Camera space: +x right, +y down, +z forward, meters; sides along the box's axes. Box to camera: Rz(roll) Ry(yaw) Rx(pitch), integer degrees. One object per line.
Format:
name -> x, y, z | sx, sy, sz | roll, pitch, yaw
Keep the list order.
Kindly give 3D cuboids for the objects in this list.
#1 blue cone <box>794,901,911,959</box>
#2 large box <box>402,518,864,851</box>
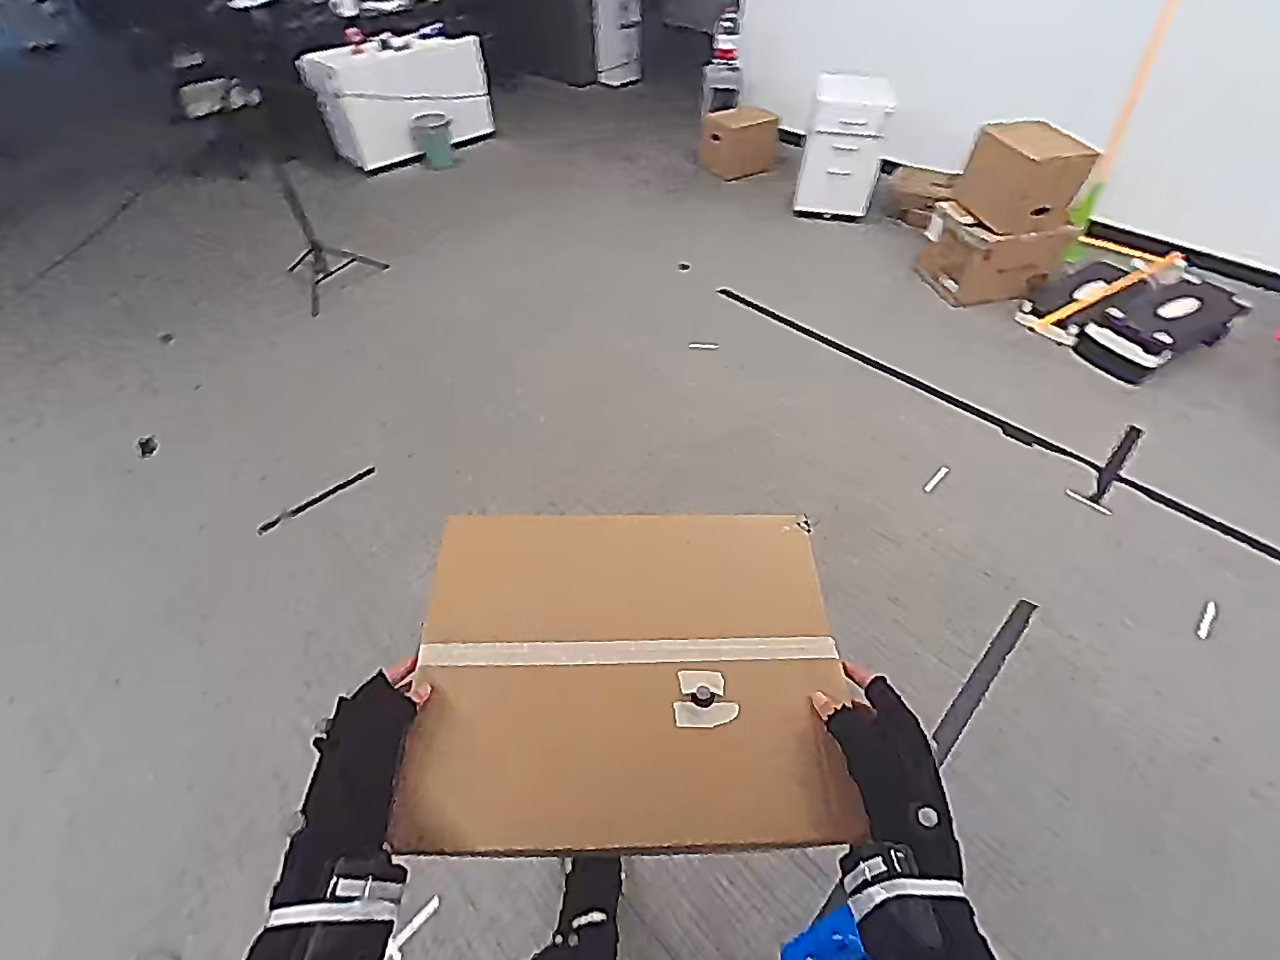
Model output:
blue cone -> 0.424, 0.882, 0.954 | 0.192, 0.380, 0.193 | -19, 53, -15
large box -> -0.011, 0.257, 0.663 | 0.408, 0.320, 0.320 | 1, 54, -2
